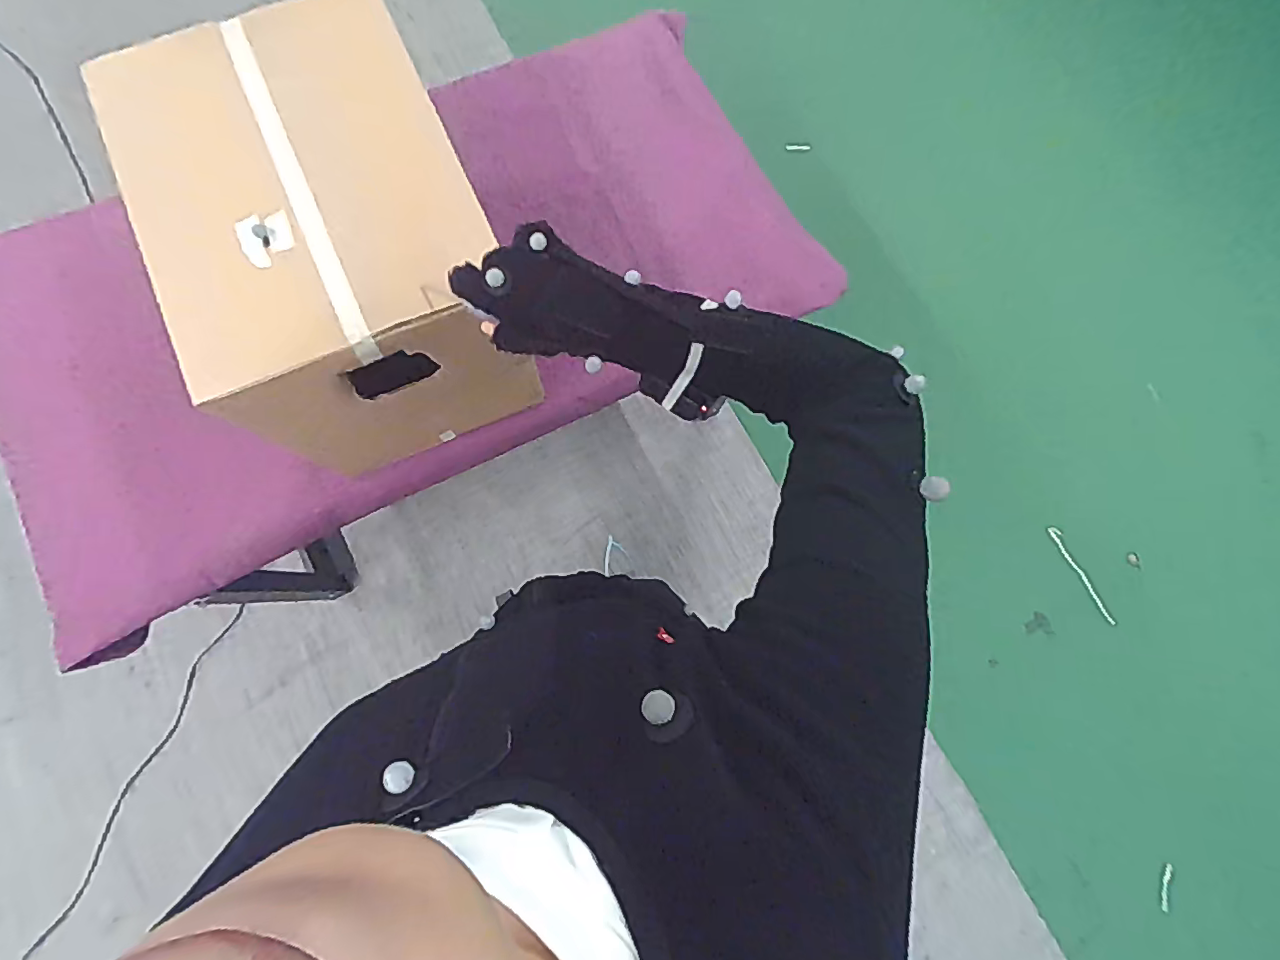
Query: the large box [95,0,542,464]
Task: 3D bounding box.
[{"bbox_3d":[-0.354,-0.285,0.697,0.320,0.320,0.408,-24,82,-9],"label":"large box"}]
